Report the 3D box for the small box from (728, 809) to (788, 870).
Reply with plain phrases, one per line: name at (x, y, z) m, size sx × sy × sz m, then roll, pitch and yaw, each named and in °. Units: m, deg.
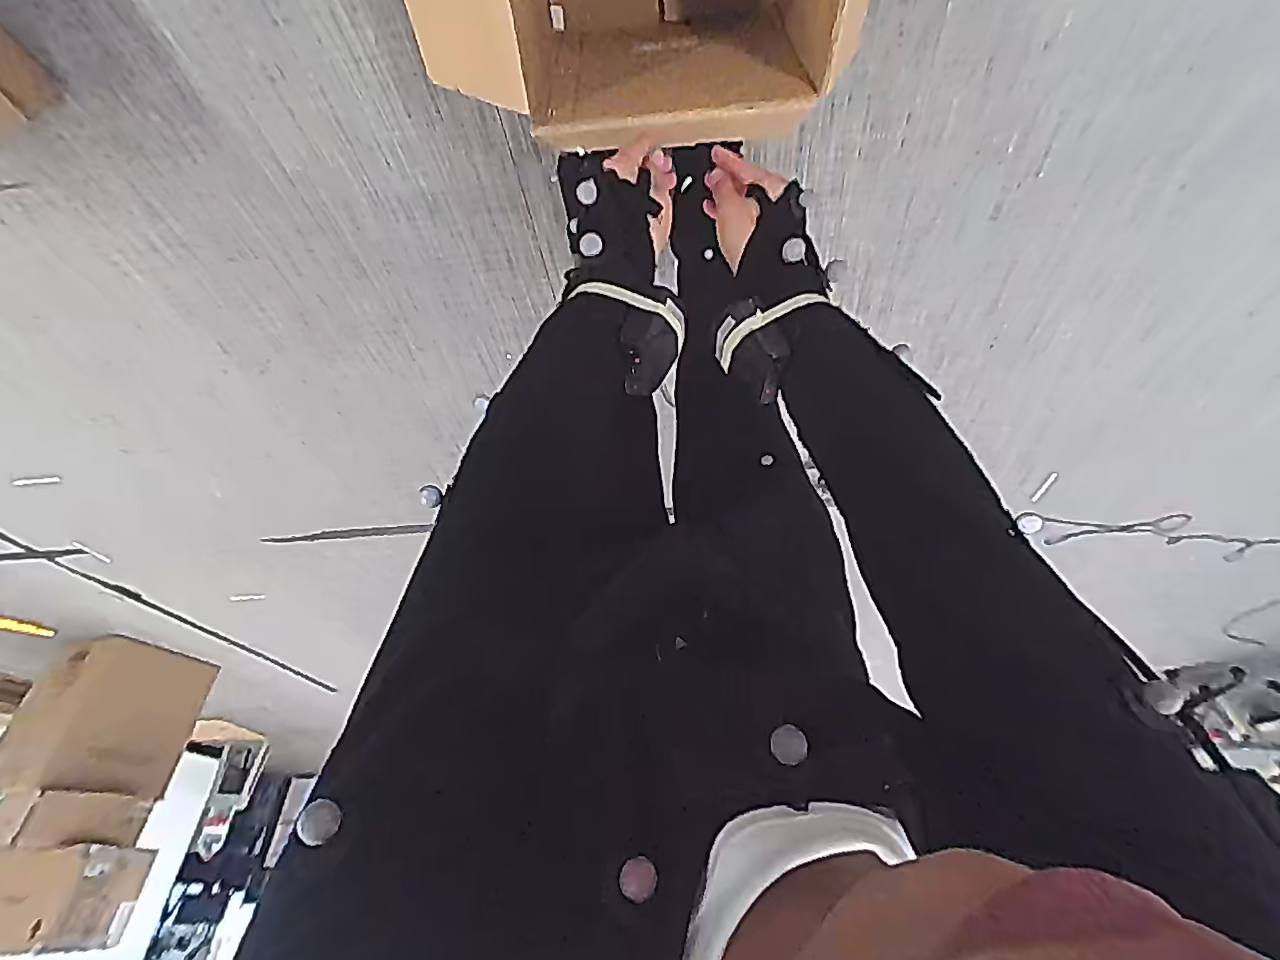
small box at (0.401, 1.247, 1.876) m, size 0.168 × 0.176 × 0.179 m, roll -1°, pitch 143°, yaw 1°
